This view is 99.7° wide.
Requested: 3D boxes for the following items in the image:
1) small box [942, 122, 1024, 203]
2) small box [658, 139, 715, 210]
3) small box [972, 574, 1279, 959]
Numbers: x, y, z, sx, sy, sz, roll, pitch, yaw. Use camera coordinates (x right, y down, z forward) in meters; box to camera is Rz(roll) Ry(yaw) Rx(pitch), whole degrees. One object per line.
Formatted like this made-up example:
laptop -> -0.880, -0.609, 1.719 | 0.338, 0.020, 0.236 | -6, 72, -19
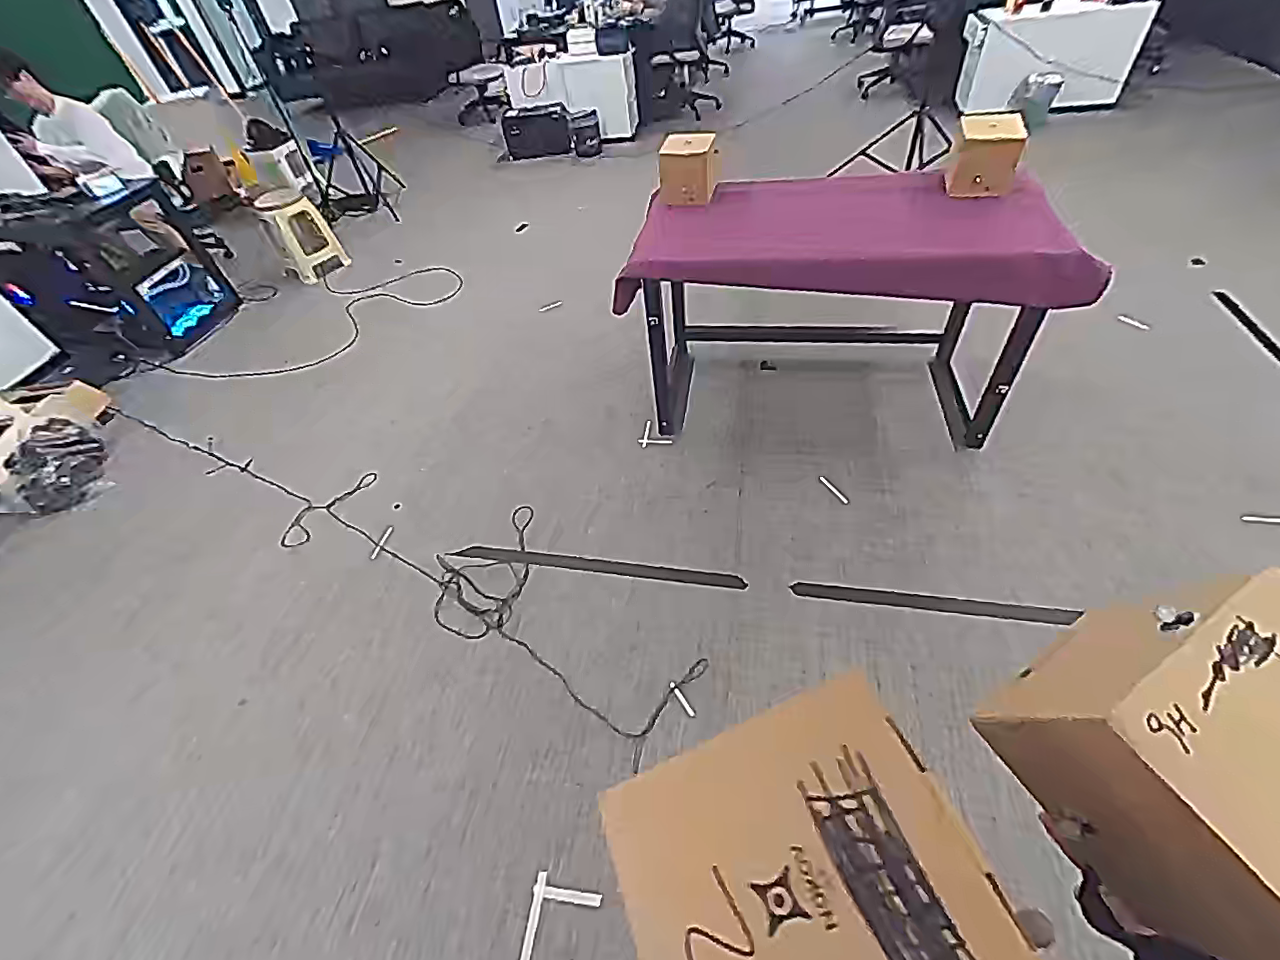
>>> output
small box -> 1.058, -0.990, 1.686 | 0.168, 0.176, 0.179 | 7, 54, 15
small box -> 0.166, -1.063, 1.880 | 0.168, 0.176, 0.179 | 7, 51, 14
small box -> 0.390, 0.195, 0.378 | 0.168, 0.176, 0.179 | -31, 69, -10
